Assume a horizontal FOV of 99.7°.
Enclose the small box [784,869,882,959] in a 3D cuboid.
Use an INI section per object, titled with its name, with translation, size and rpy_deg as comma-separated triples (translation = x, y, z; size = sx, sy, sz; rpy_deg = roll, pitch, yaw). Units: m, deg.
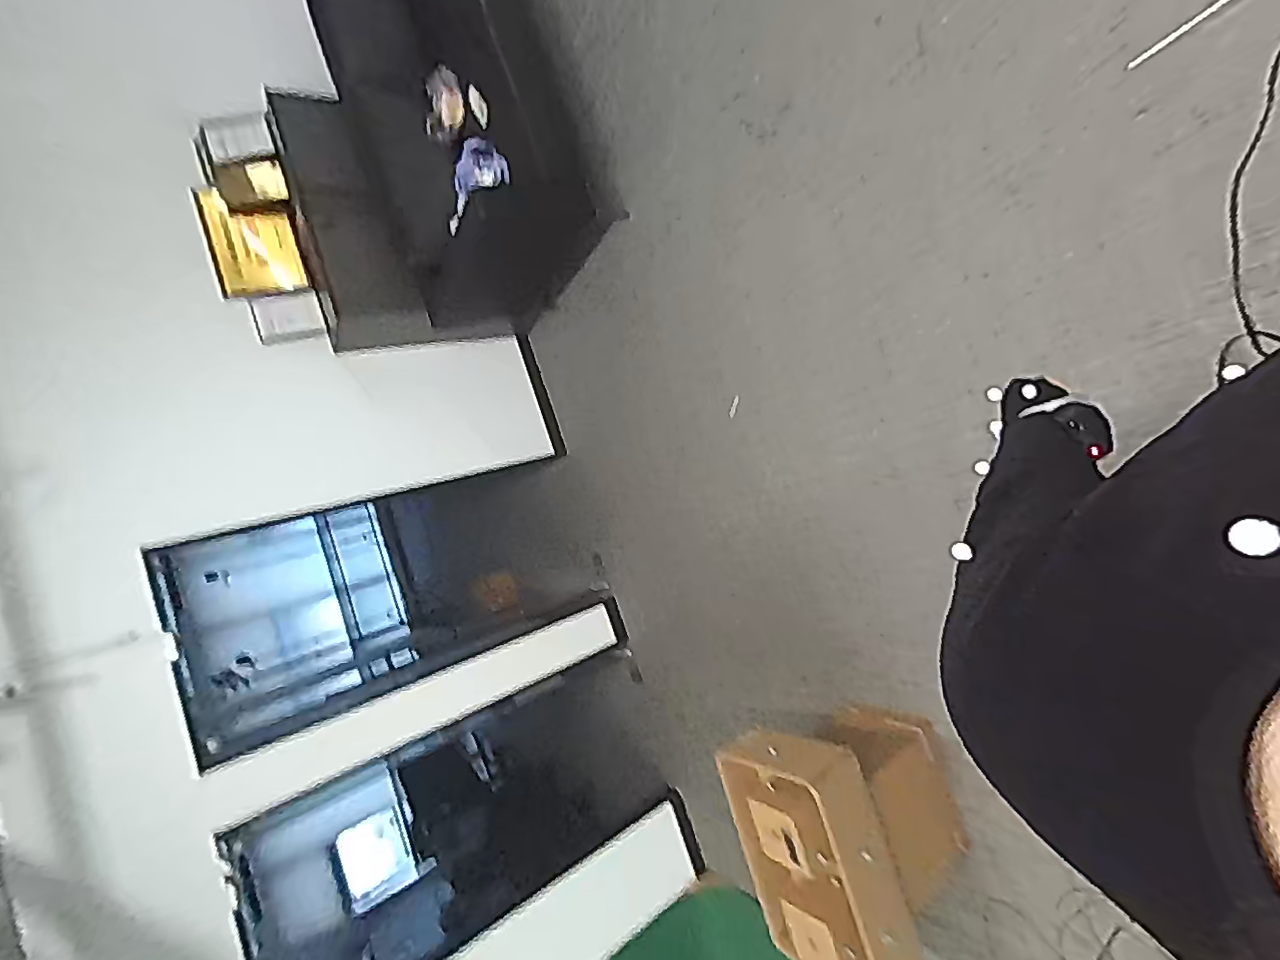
[small box]
translation = 0.536, 1.236, 1.493
size = 0.168, 0.176, 0.179
rpy_deg = -20, 85, 56
